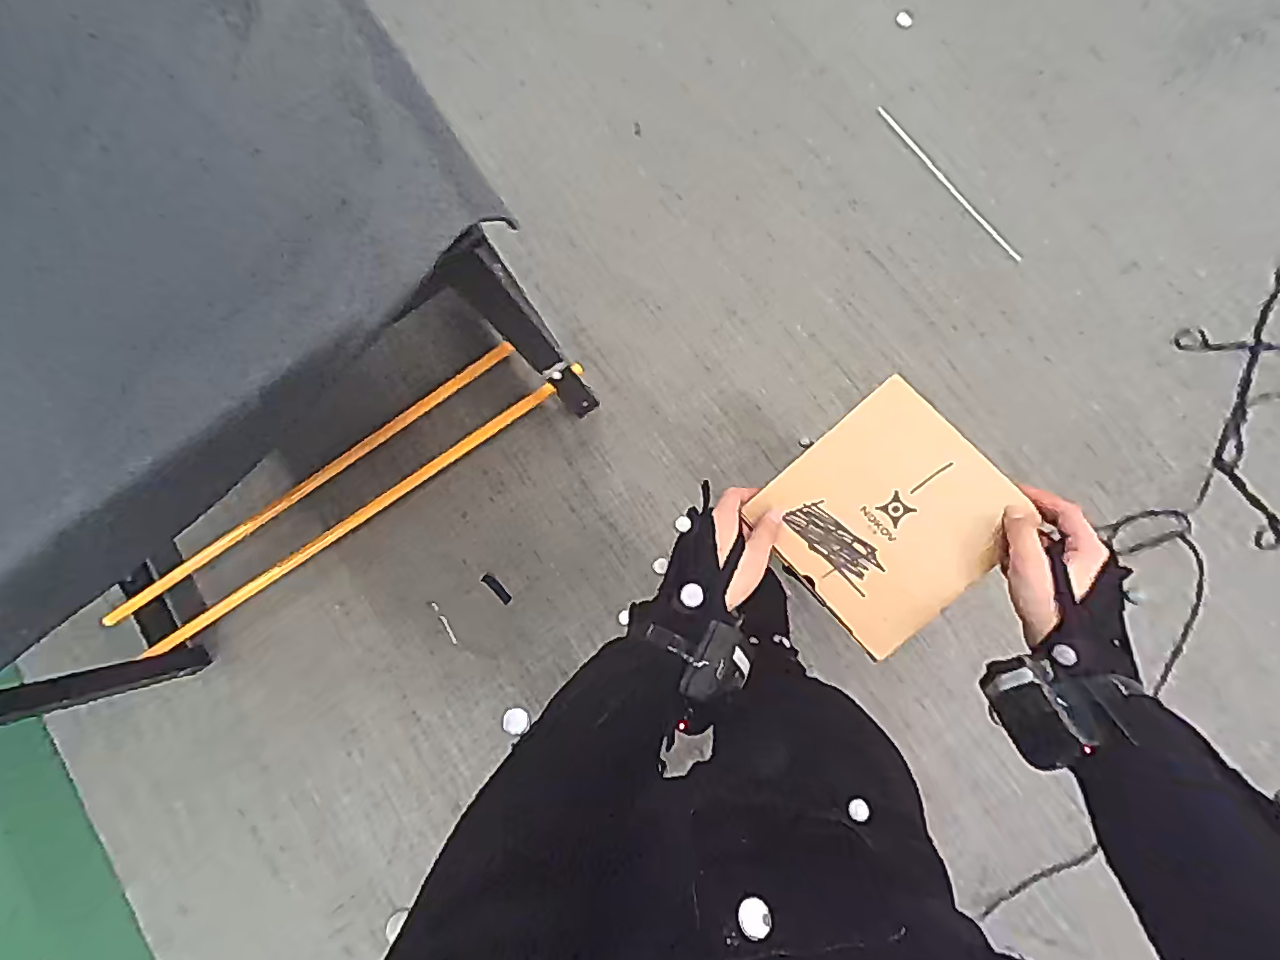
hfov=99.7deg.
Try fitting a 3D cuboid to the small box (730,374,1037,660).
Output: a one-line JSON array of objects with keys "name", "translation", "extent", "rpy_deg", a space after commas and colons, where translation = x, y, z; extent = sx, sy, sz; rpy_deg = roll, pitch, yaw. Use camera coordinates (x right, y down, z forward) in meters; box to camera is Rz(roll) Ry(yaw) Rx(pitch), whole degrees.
[{"name": "small box", "translation": [0.207, 0.035, 0.513], "extent": [0.179, 0.176, 0.168], "rpy_deg": [-43, 80, 4]}]
